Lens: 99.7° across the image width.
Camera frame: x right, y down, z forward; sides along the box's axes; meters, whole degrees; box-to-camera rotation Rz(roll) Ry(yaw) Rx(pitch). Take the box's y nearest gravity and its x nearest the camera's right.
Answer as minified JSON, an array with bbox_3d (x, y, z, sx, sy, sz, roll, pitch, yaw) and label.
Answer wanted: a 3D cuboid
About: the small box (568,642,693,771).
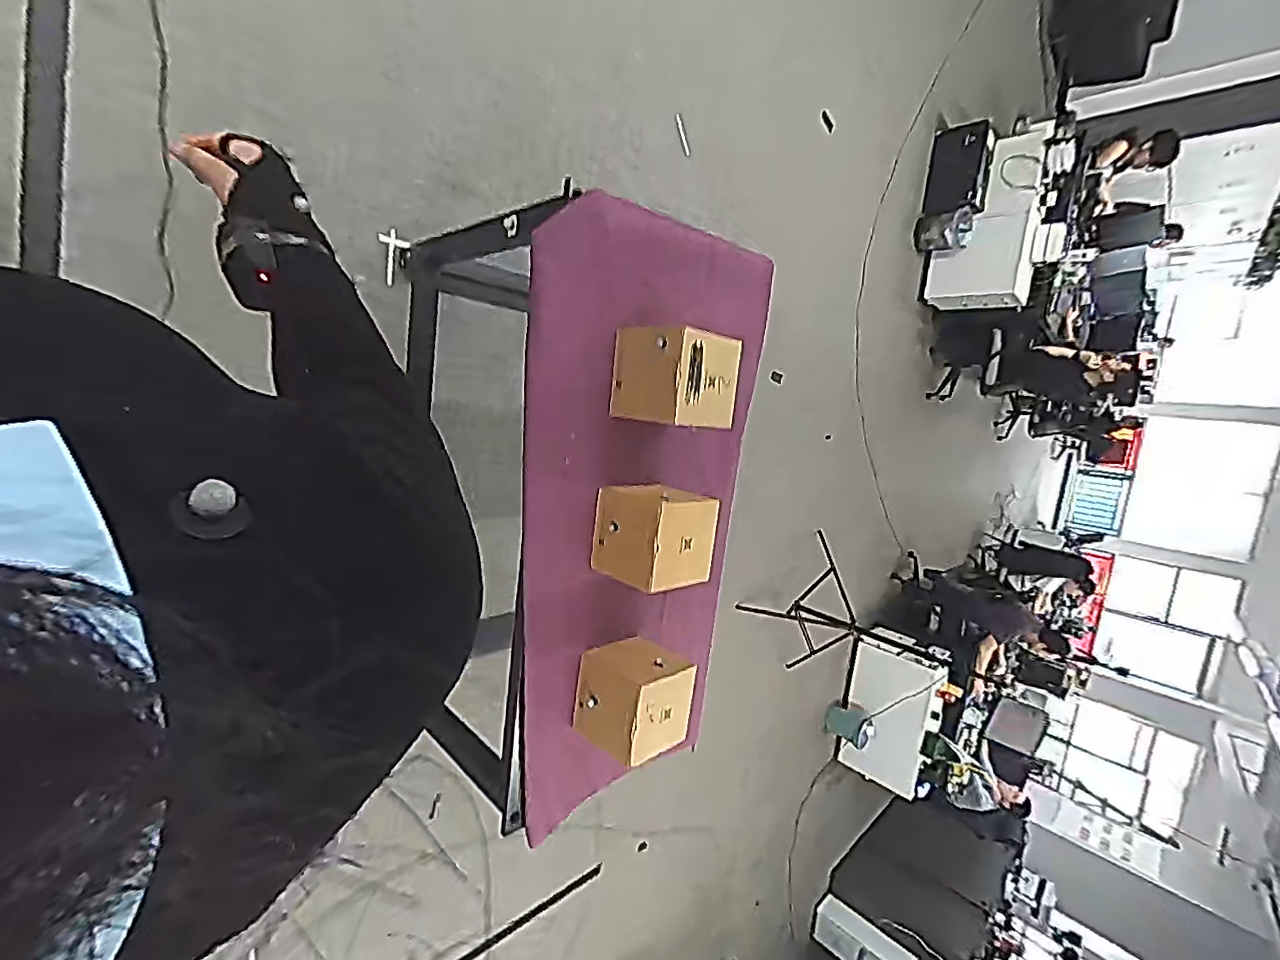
[{"bbox_3d":[-0.020,0.448,1.108,0.179,0.176,0.168,2,97,-47],"label":"small box"}]

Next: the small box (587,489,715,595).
[{"bbox_3d":[0.021,0.112,1.072,0.179,0.176,0.168,0,100,-46],"label":"small box"}]
